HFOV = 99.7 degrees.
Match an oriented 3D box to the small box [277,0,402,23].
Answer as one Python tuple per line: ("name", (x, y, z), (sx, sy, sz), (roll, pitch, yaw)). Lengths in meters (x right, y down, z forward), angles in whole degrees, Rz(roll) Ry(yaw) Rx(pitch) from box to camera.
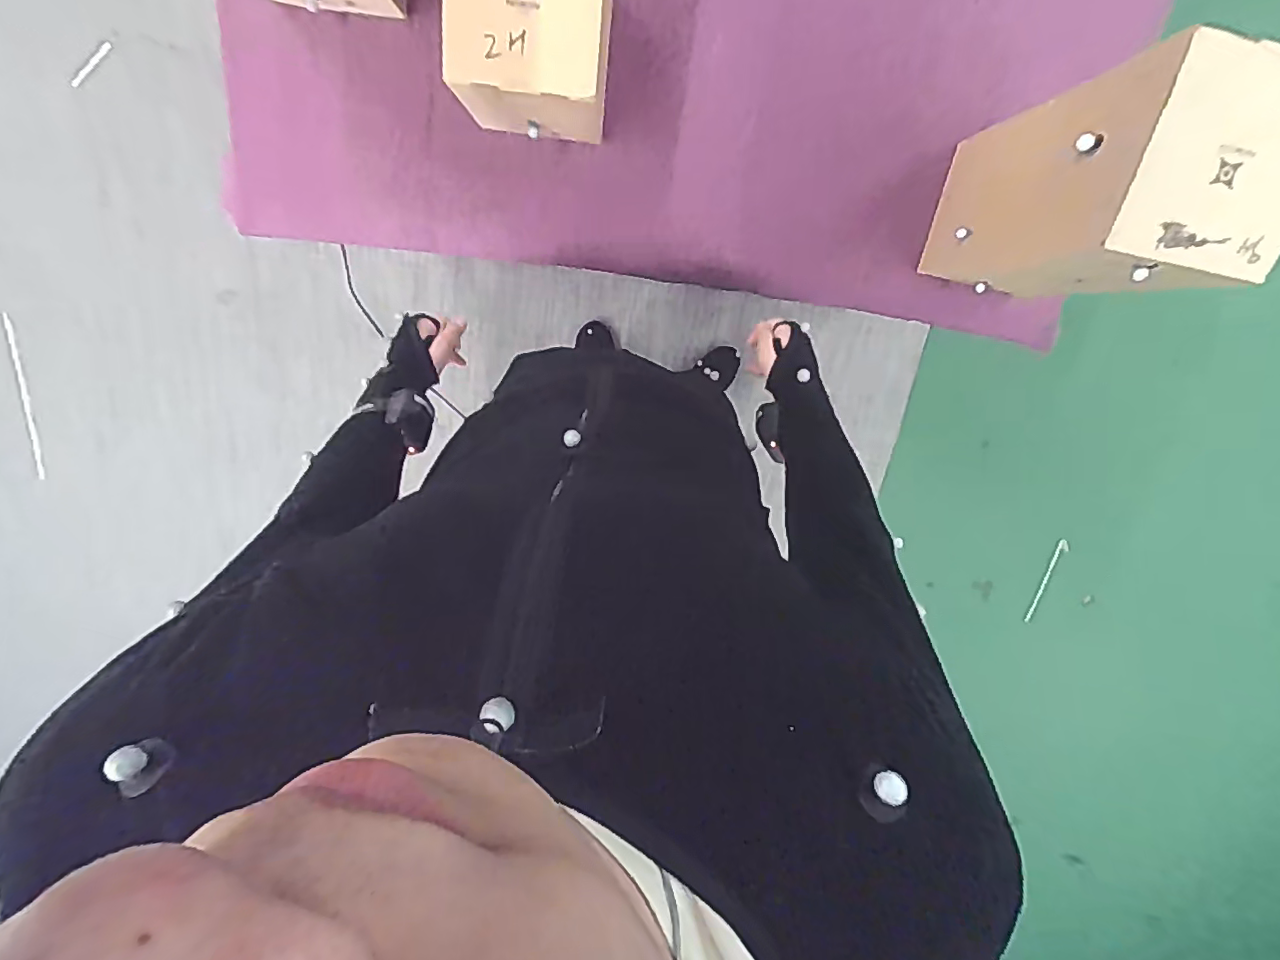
("small box", (-0.372, -0.647, 0.584), (0.168, 0.176, 0.179), (5, 109, -3))

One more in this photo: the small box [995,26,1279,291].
("small box", (0.511, -0.302, 0.552), (0.168, 0.176, 0.179), (11, 106, -4))

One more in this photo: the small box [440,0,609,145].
("small box", (-0.125, -0.523, 0.633), (0.168, 0.176, 0.179), (6, 108, -3))
